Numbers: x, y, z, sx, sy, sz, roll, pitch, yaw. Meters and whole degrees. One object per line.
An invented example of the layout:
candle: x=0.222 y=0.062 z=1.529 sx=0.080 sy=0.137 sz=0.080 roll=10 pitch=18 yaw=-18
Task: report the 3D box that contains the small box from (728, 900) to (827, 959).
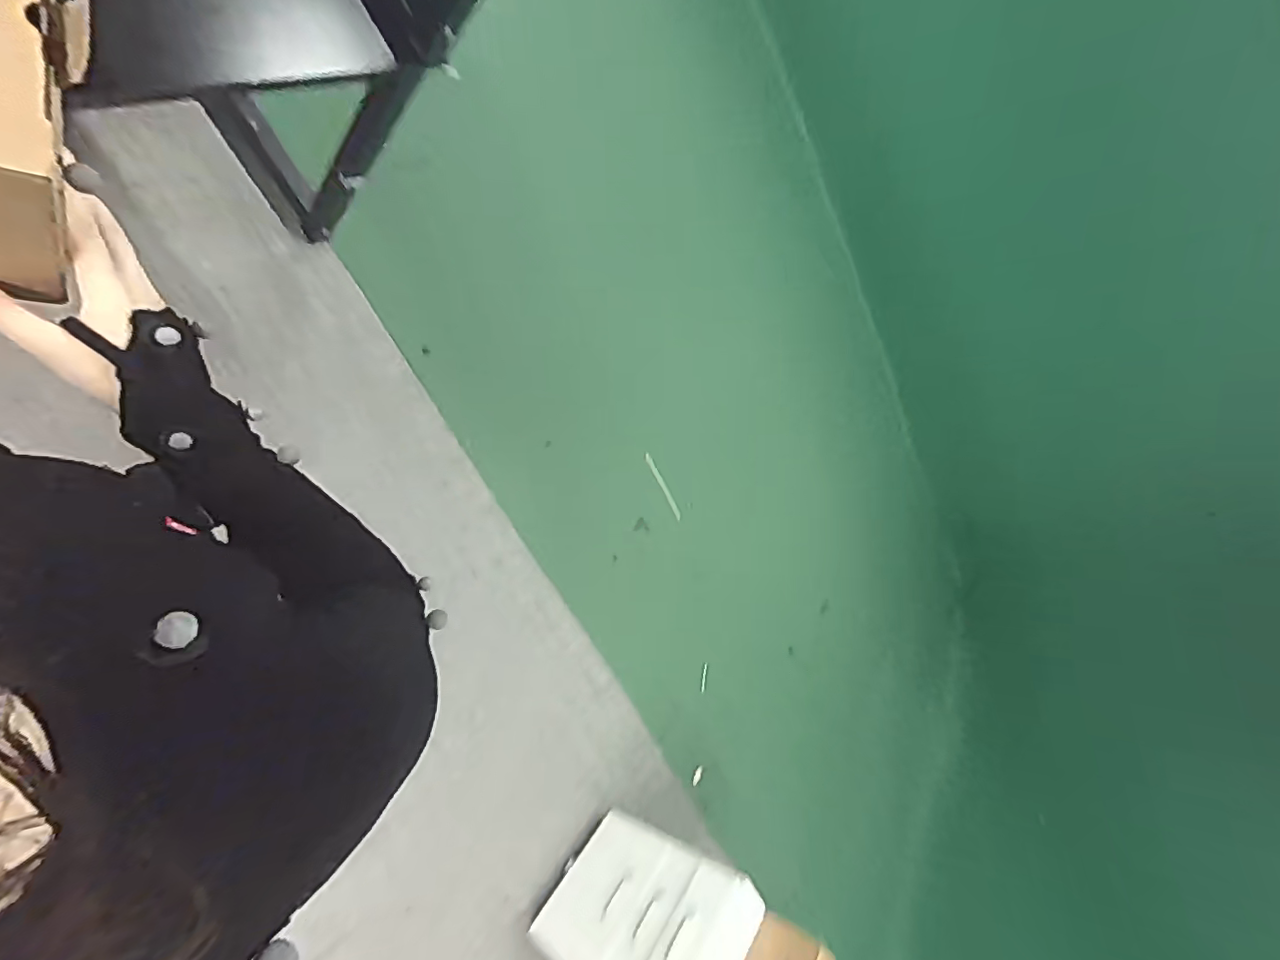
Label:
small box: x=0.353 y=1.244 z=1.393 sx=0.179 sy=0.176 sz=0.168 roll=-42 pitch=113 yaw=-38
